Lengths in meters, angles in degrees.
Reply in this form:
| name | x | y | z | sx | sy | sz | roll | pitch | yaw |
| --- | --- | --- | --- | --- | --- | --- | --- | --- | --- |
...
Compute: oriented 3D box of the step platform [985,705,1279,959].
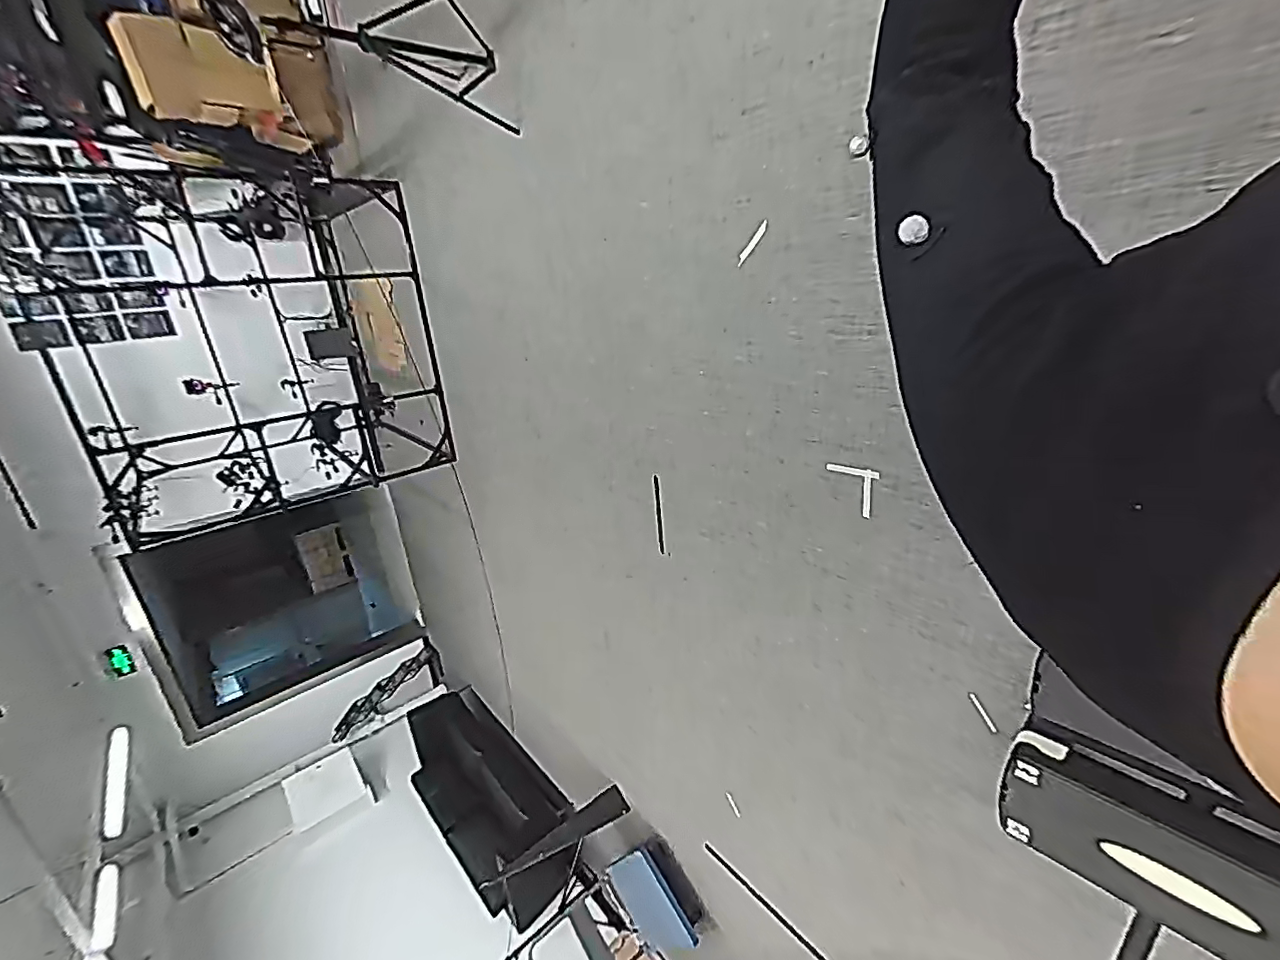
| name | x | y | z | sx | sy | sz | roll | pitch | yaw |
| --- | --- | --- | --- | --- | --- | --- | --- | --- | --- |
| step platform | 1.201 | 0.829 | 1.246 | 0.684 | 0.204 | 0.286 | 17 | 120 | 49 |
